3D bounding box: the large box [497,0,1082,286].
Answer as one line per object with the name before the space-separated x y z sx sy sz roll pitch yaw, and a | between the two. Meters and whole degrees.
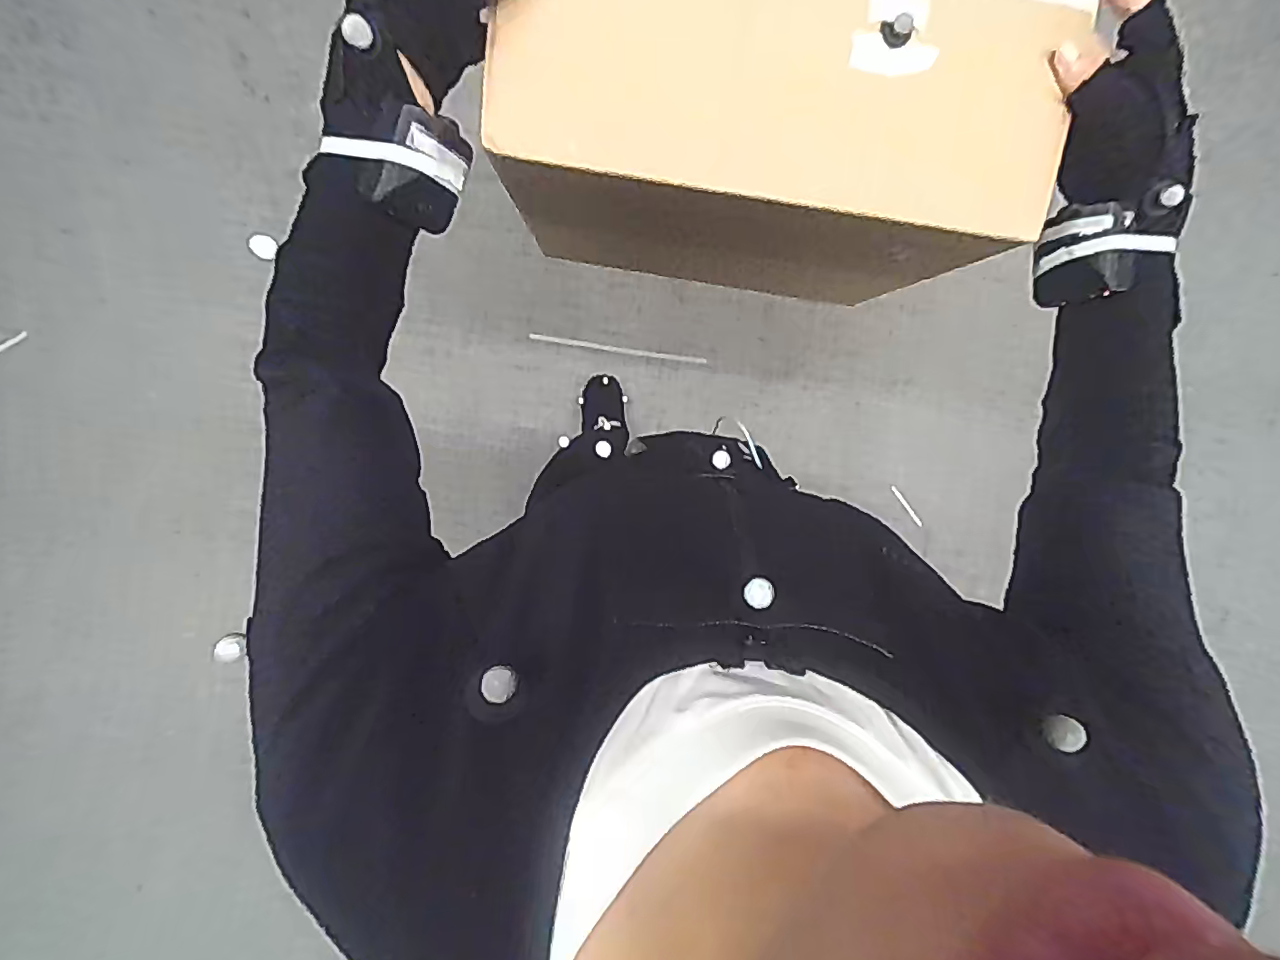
large box | 0.103 -0.391 0.508 0.408 0.320 0.320 7 100 -5
